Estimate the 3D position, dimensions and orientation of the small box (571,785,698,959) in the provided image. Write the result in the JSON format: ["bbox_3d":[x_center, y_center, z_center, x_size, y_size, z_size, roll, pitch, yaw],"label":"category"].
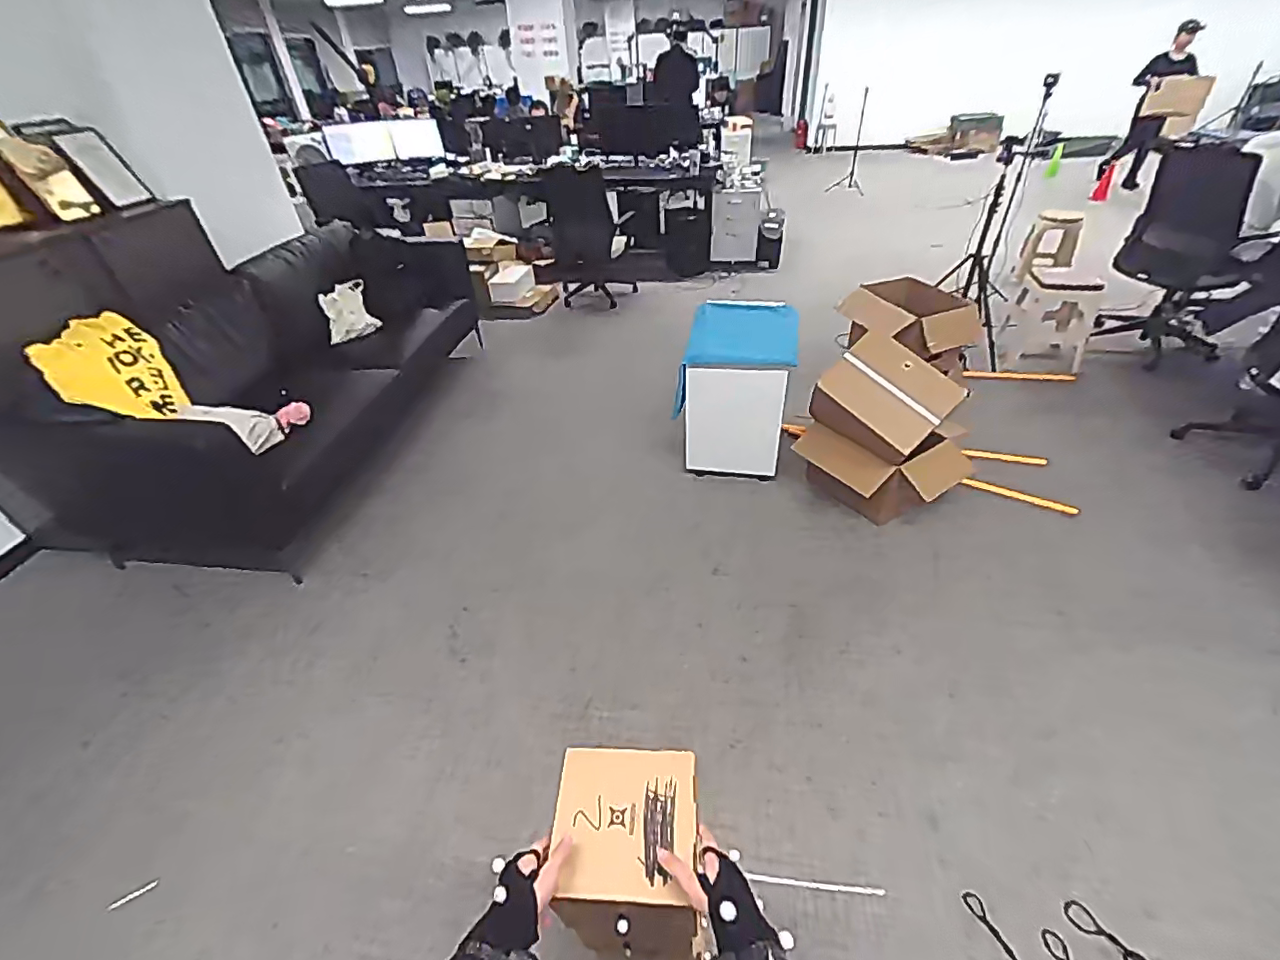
[{"bbox_3d":[0.002,0.592,0.817,0.168,0.176,0.179,-1,40,7],"label":"small box"}]

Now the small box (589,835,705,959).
[{"bbox_3d":[0.020,0.718,0.919,0.179,0.176,0.168,0,38,6],"label":"small box"}]
